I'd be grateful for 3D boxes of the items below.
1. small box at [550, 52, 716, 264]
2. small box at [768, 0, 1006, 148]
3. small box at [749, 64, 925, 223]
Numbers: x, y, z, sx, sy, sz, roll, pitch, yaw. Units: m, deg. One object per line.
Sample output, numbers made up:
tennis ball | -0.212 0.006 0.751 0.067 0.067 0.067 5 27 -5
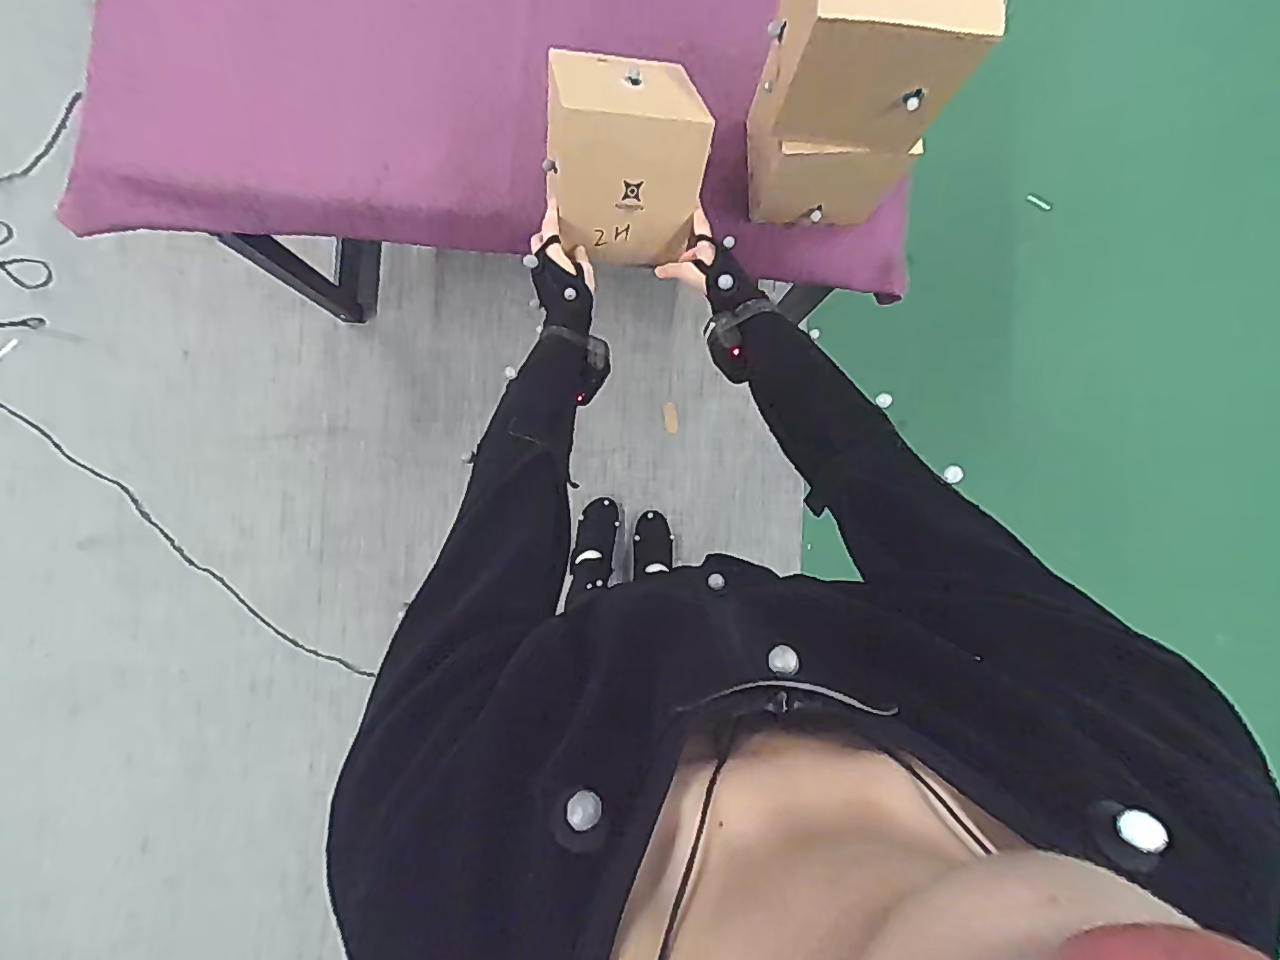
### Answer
small box | -0.023 -0.396 0.671 0.168 0.179 0.176 -3 55 -12
small box | 0.248 -0.483 0.568 0.179 0.176 0.168 5 88 -1
small box | 0.255 -0.469 0.731 0.179 0.176 0.168 0 88 -2
